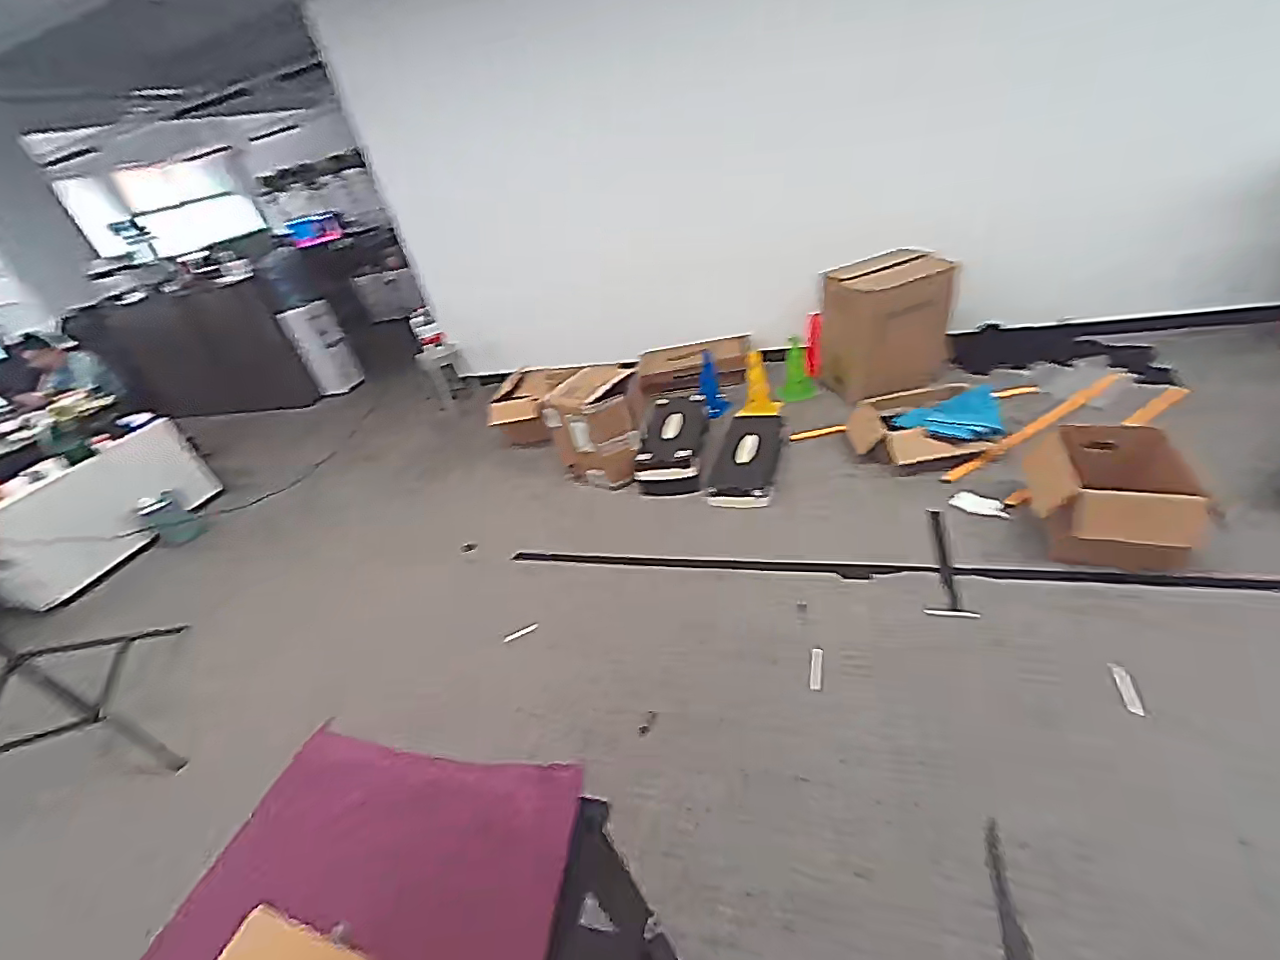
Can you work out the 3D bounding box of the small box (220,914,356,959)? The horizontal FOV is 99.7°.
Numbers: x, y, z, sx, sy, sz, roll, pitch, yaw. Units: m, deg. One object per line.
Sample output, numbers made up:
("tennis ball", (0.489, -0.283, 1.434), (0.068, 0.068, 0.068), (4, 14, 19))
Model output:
("small box", (-0.364, 0.601, 0.559), (0.179, 0.176, 0.168), (0, 36, 22))
